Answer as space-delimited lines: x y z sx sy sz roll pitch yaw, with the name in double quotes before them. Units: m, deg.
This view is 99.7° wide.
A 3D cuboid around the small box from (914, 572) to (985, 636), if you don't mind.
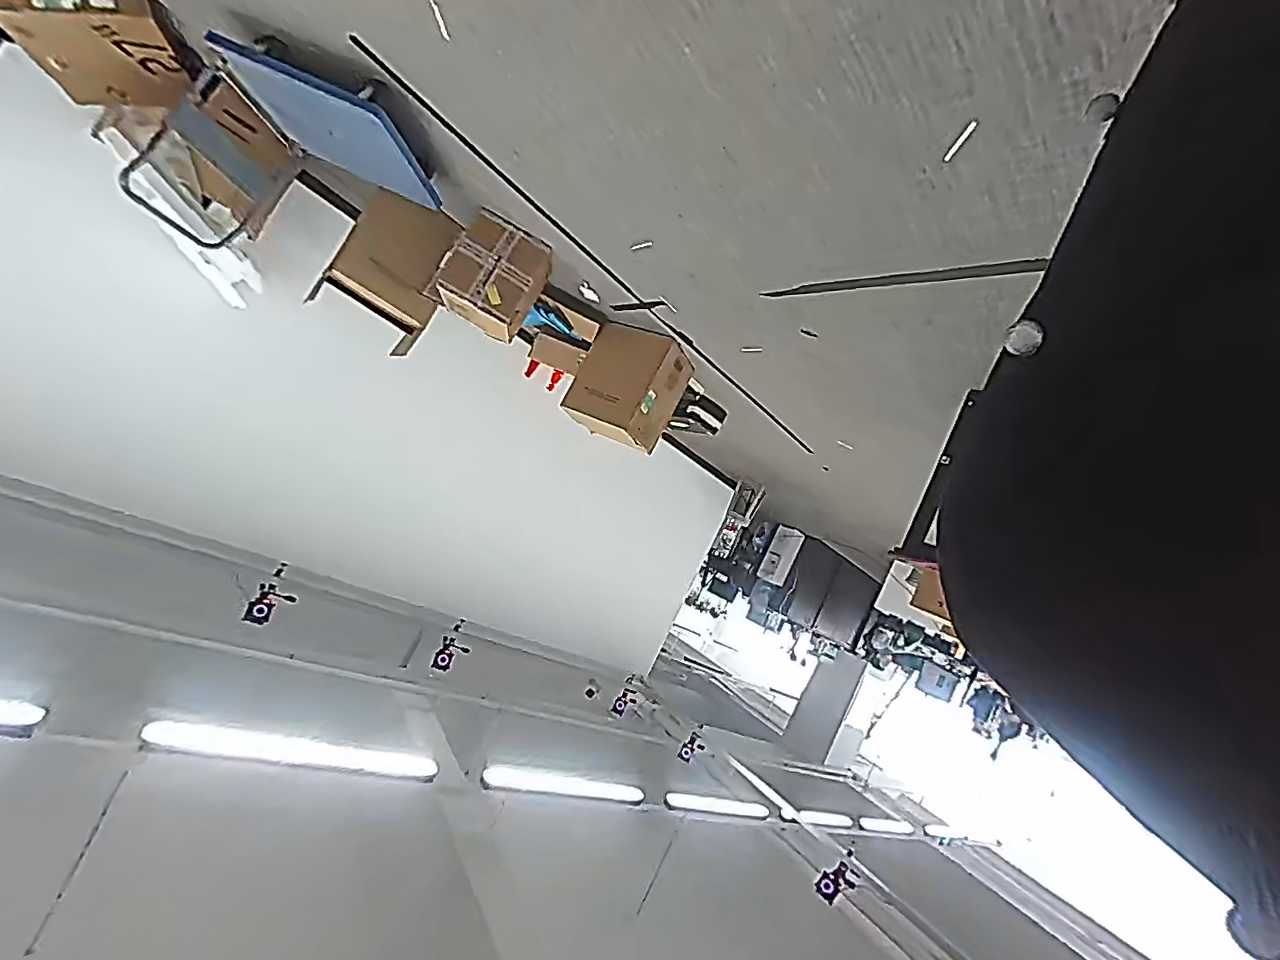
"small box" 1.187 0.470 2.062 0.168 0.176 0.179 31 173 -38
